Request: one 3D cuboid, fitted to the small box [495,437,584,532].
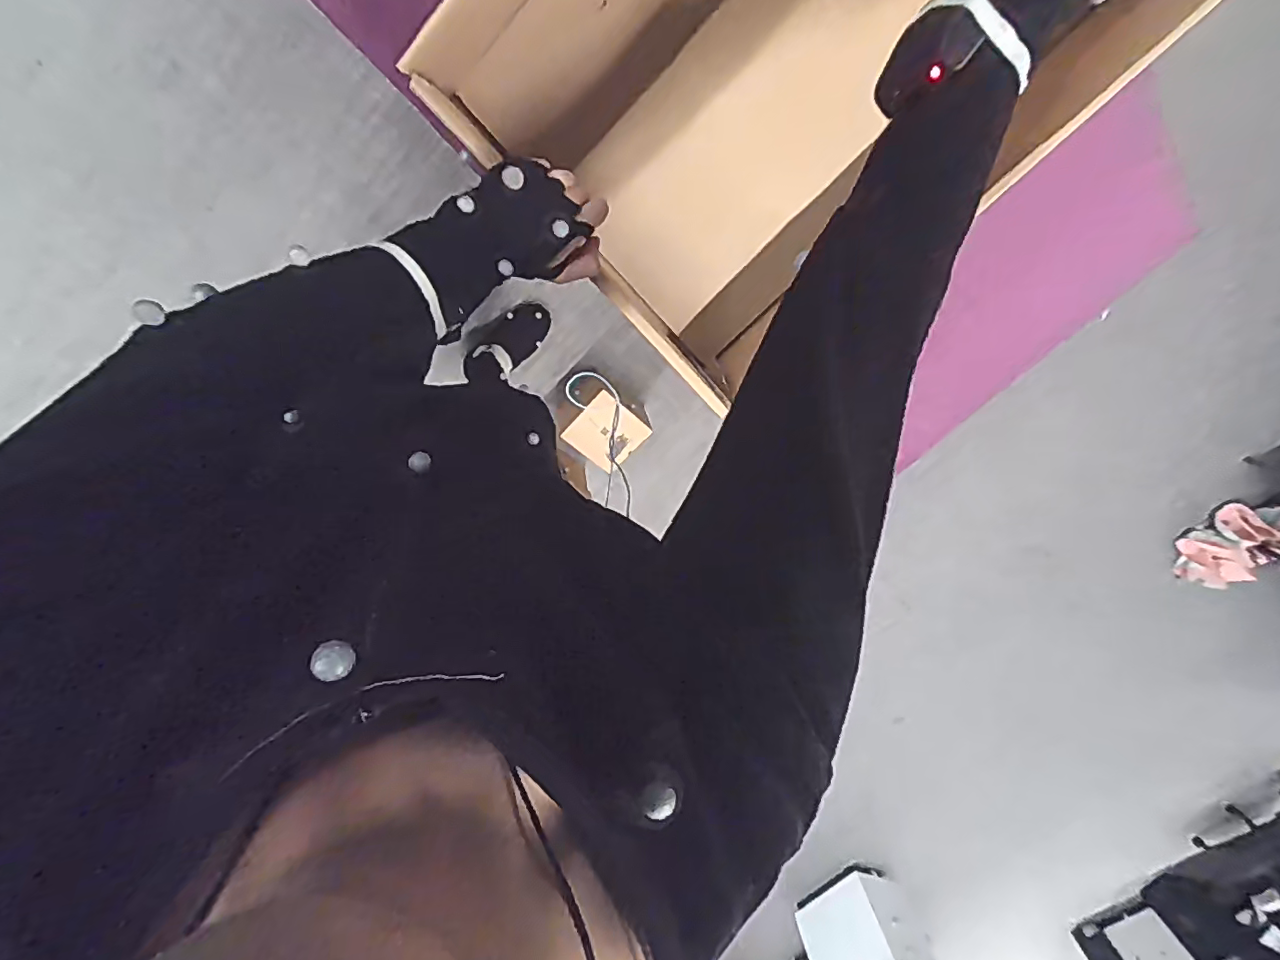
[{"bbox_3d":[-0.277,0.004,1.492,0.179,0.176,0.168,35,108,-25],"label":"small box"}]
